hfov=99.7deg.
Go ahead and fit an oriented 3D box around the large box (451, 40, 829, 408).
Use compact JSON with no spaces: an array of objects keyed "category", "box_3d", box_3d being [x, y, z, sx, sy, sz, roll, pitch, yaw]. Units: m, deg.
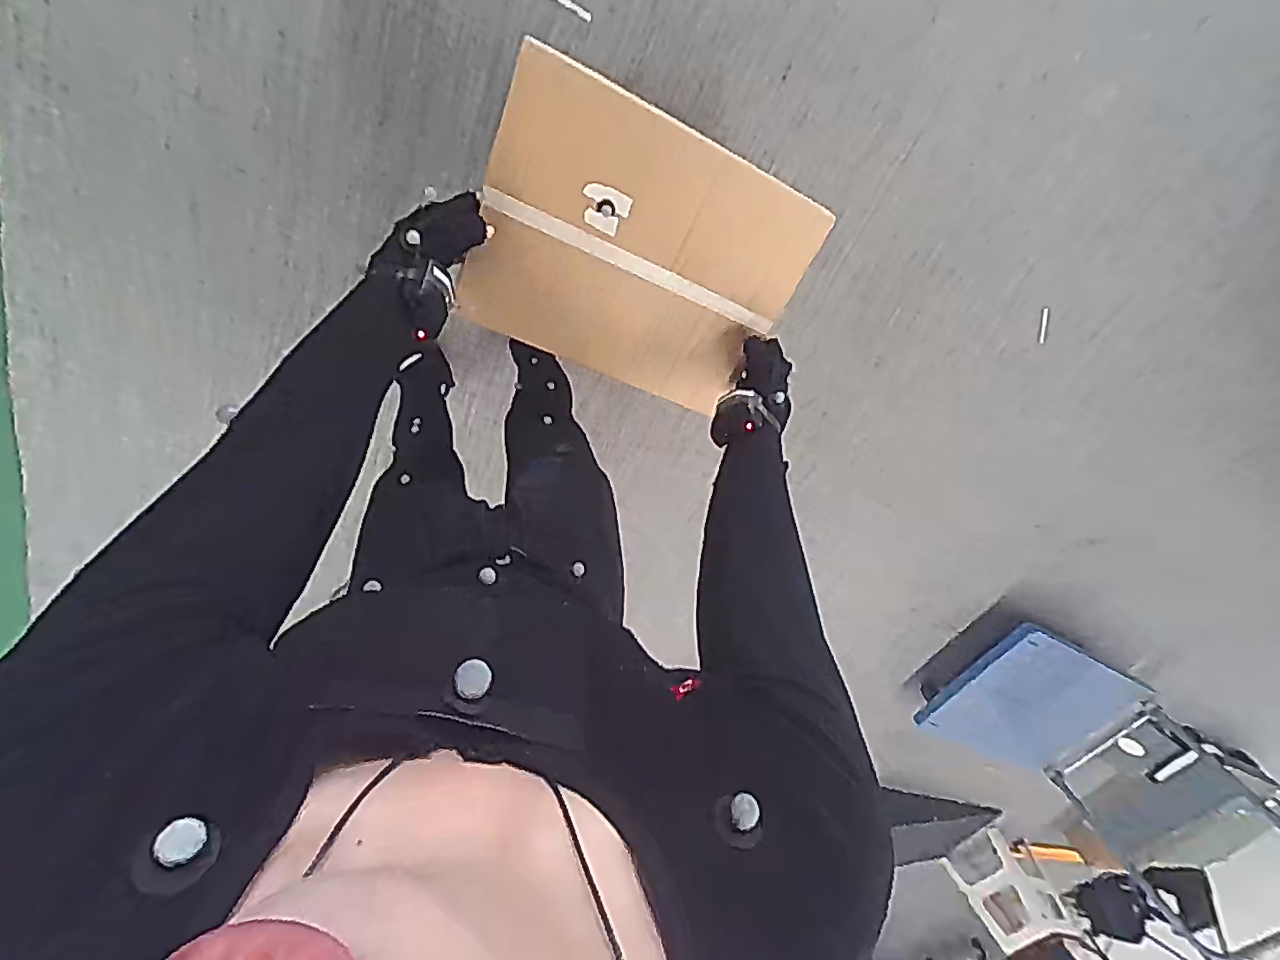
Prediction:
[{"category":"large box","box_3d":[-0.013,-0.368,0.802,0.408,0.320,0.320,19,123,-17]}]
